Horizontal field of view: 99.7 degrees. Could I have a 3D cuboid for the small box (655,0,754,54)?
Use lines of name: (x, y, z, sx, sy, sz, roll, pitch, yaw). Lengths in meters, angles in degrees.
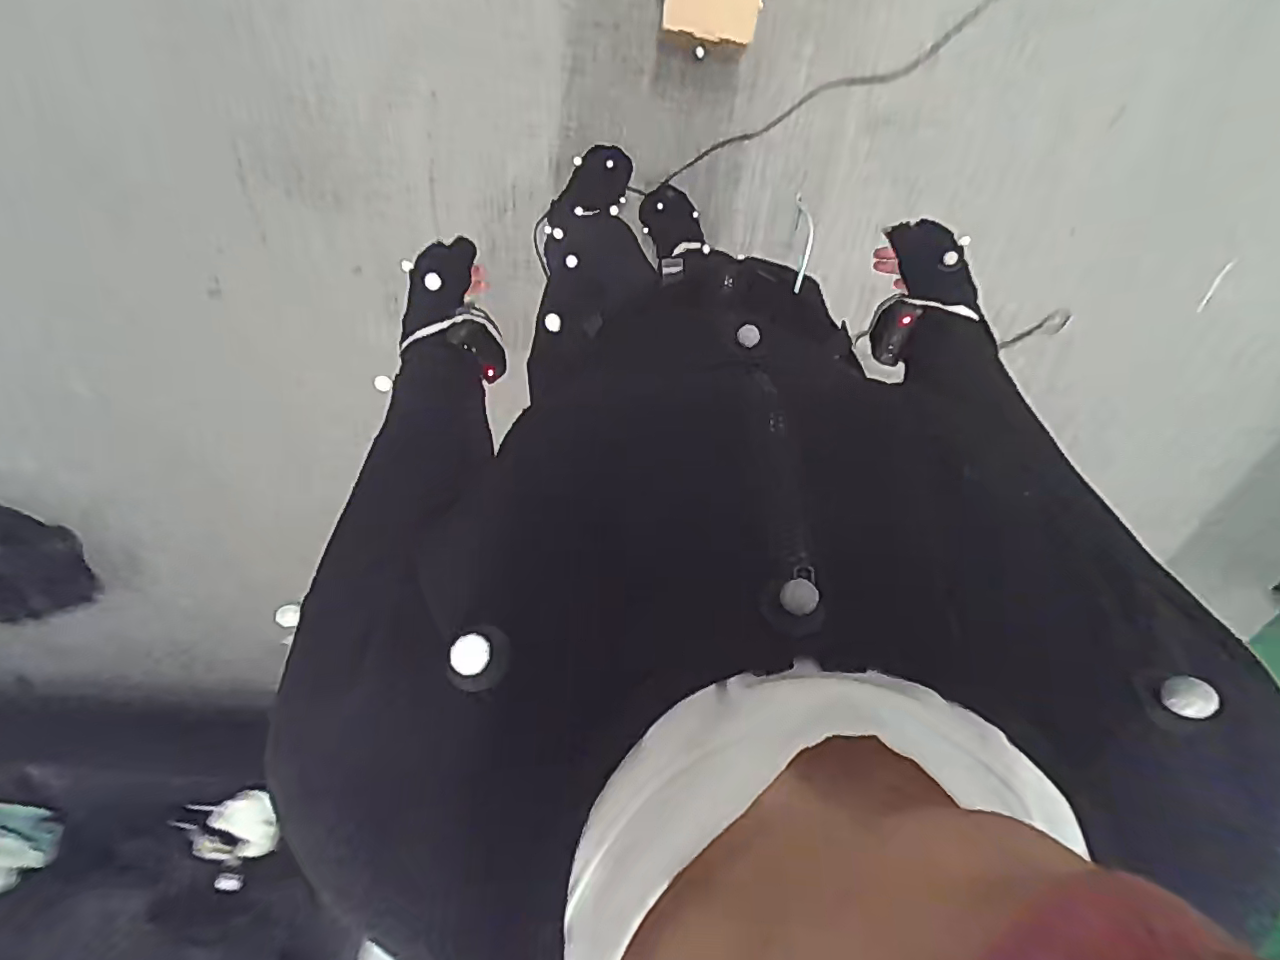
small box: (0.121, -0.897, 0.977, 0.168, 0.176, 0.179, 7, 122, -5)
